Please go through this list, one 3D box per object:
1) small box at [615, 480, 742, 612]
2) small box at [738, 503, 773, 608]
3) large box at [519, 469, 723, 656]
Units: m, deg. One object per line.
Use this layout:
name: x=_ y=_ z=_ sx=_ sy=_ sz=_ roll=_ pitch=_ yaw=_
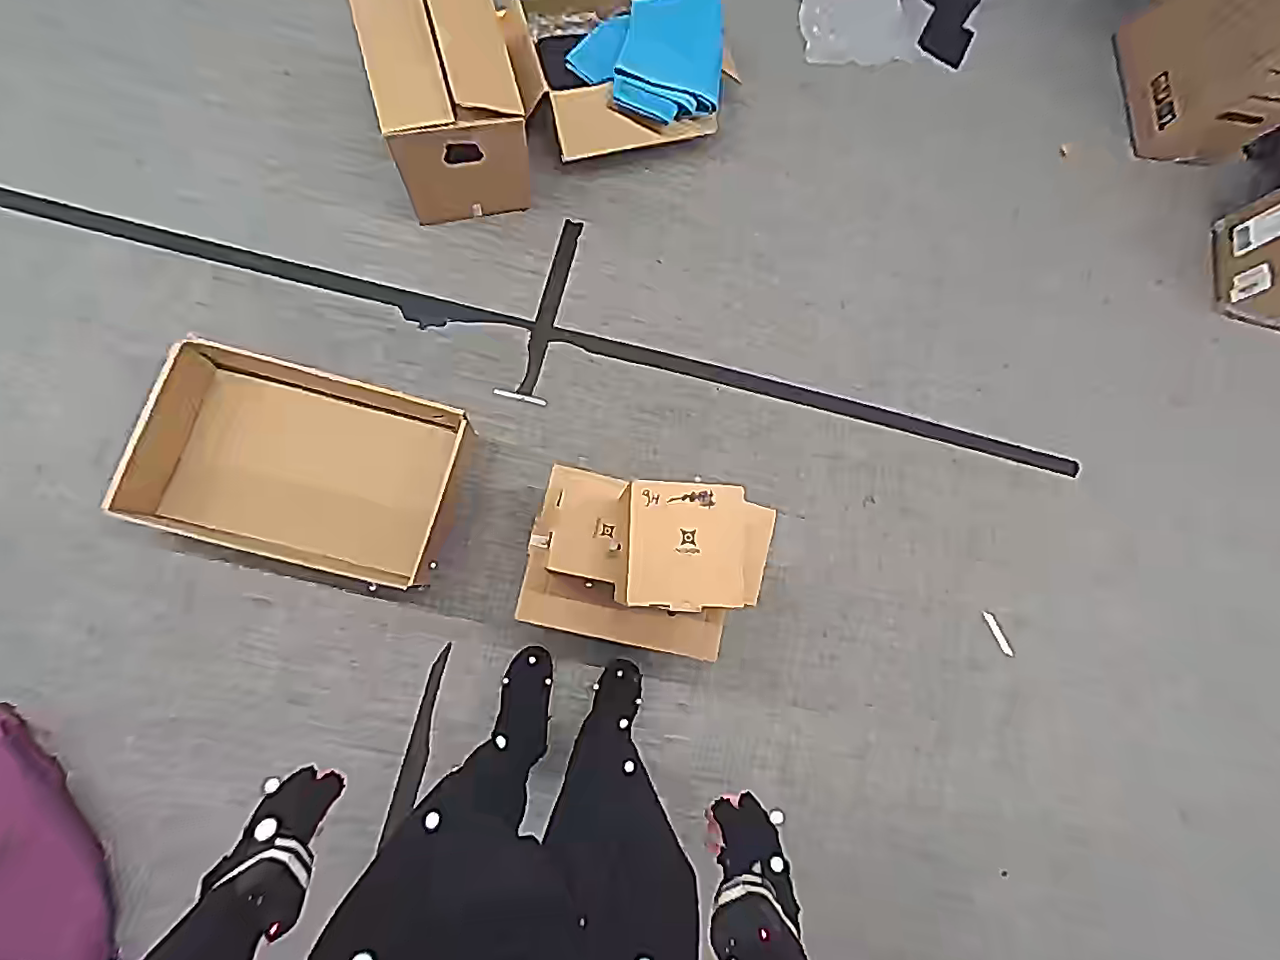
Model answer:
small box: x=0.052 y=0.104 z=0.833 sx=0.168 sy=0.176 sz=0.179 roll=4 pitch=79 yaw=-7
small box: x=0.125 y=0.130 z=1.007 sx=0.168 sy=0.176 sz=0.179 roll=18 pitch=76 yaw=-4
large box: x=-0.038 y=0.191 z=1.221 sx=0.408 sy=0.320 sz=0.320 roll=13 pitch=78 yaw=-7
